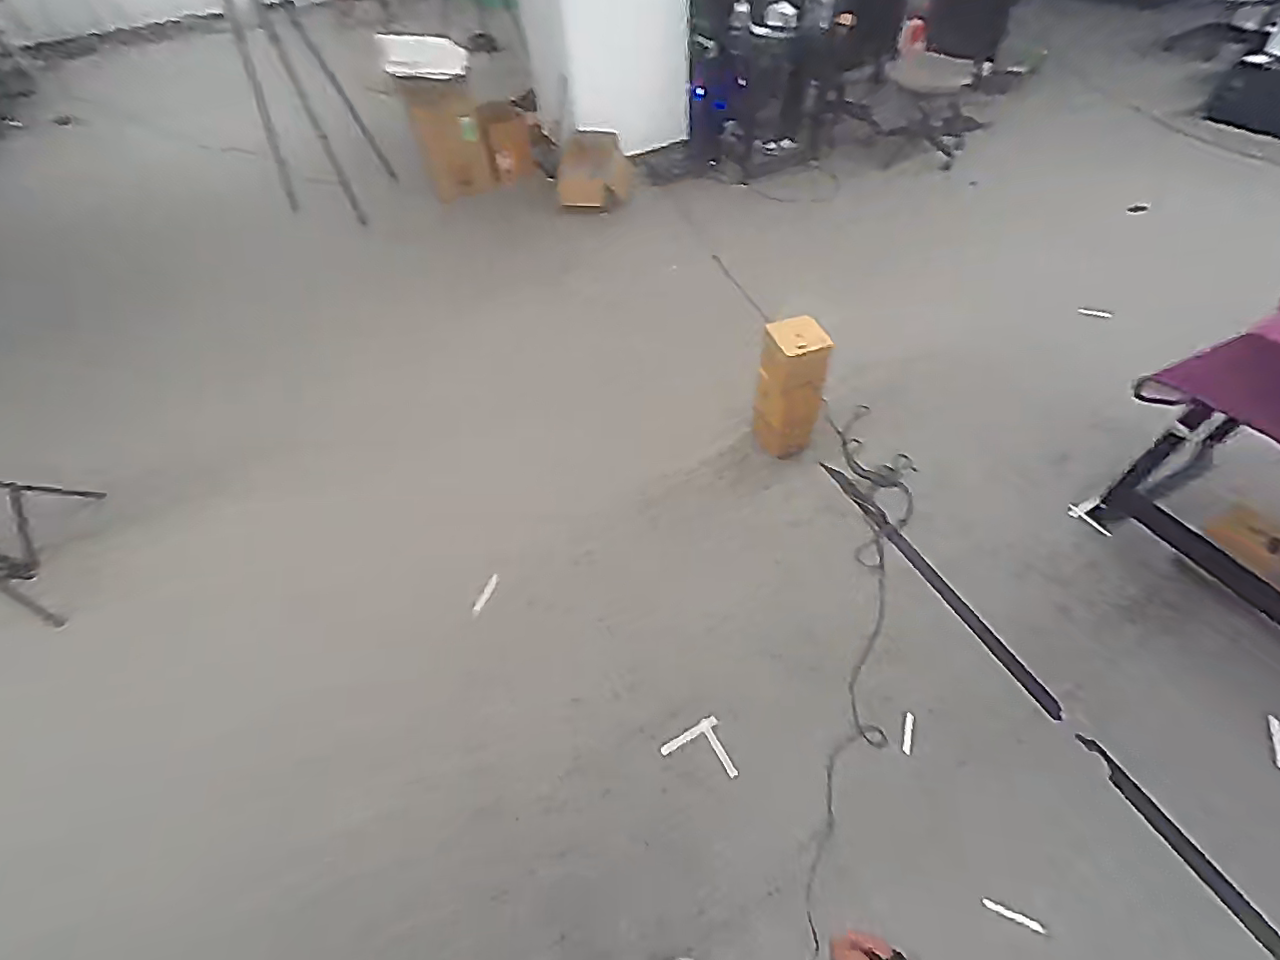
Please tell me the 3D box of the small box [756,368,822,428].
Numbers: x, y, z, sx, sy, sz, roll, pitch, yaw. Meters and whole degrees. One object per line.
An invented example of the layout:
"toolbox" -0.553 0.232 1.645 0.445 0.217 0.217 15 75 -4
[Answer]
"small box" 0.532 -0.313 1.943 0.179 0.176 0.168 -21 52 -11

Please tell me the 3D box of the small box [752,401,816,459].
"small box" 0.543 -0.213 2.070 0.168 0.176 0.179 -23 53 -12

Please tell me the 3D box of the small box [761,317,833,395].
"small box" 0.518 -0.414 1.814 0.168 0.176 0.179 -16 51 -7
